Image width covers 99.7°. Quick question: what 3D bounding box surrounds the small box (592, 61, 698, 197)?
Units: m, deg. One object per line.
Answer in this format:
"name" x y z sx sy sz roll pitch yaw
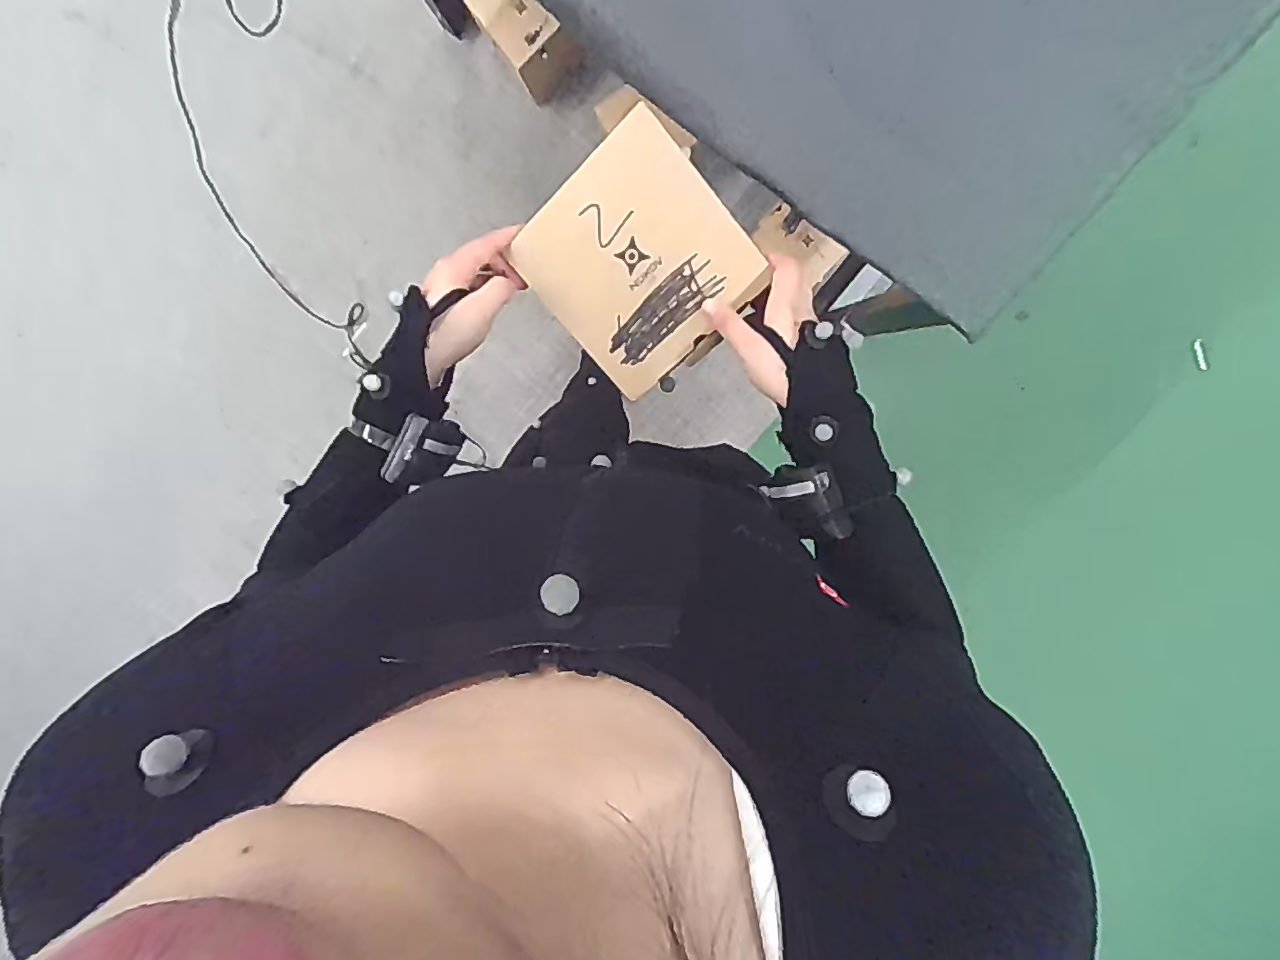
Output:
"small box" 0.017 -0.762 1.204 0.168 0.176 0.179 -30 97 9

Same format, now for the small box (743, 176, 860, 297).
"small box" 0.356 -0.539 1.230 0.179 0.176 0.168 44 102 -7

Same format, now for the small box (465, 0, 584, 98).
"small box" -0.245 -0.987 1.171 0.168 0.176 0.179 -38 97 11
